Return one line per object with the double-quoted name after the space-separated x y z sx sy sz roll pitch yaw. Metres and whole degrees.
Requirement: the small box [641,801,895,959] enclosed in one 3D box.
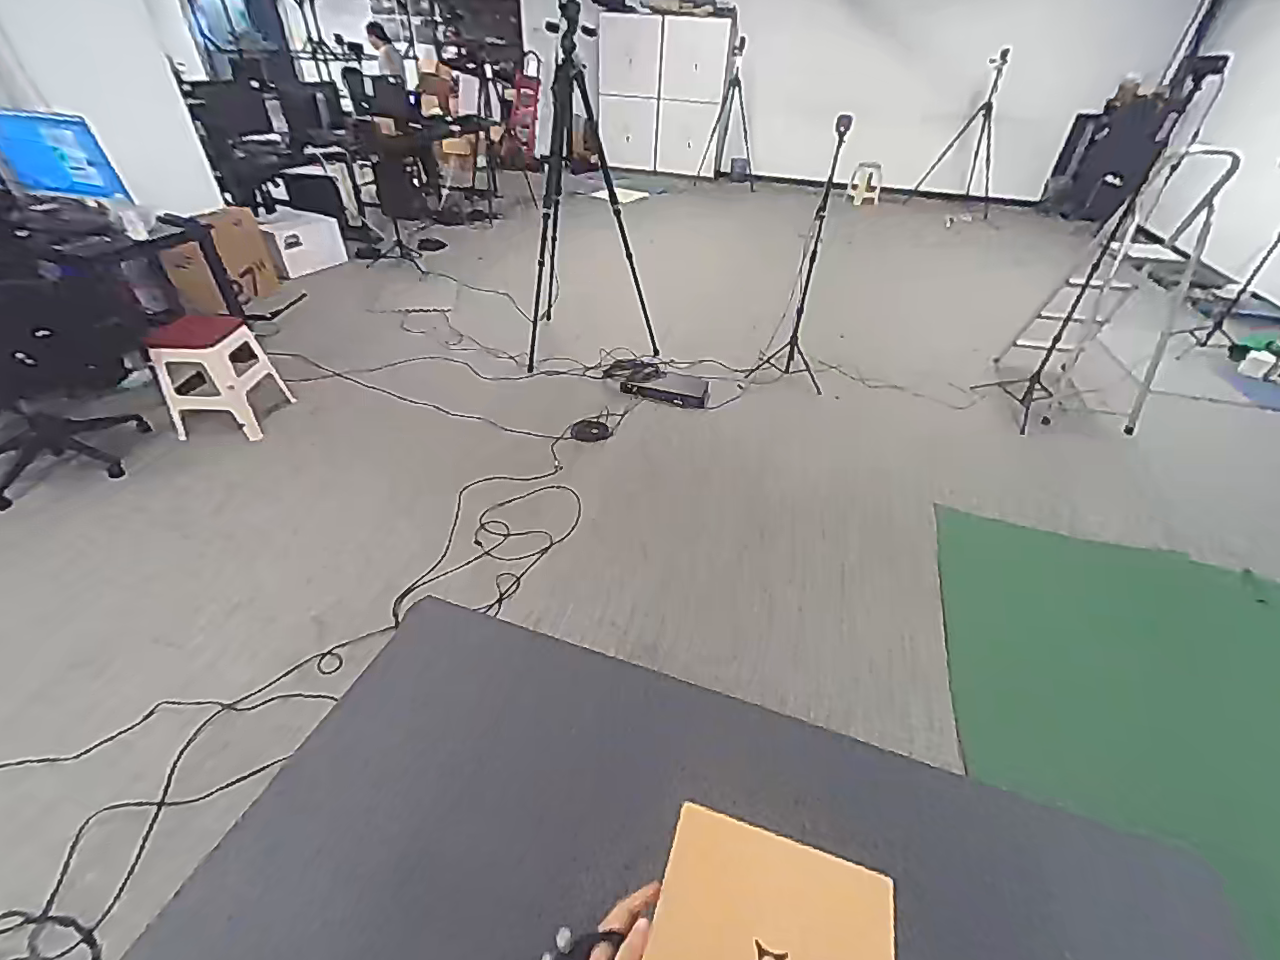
0.081 0.394 0.411 0.168 0.176 0.179 14 39 13 "small box"
